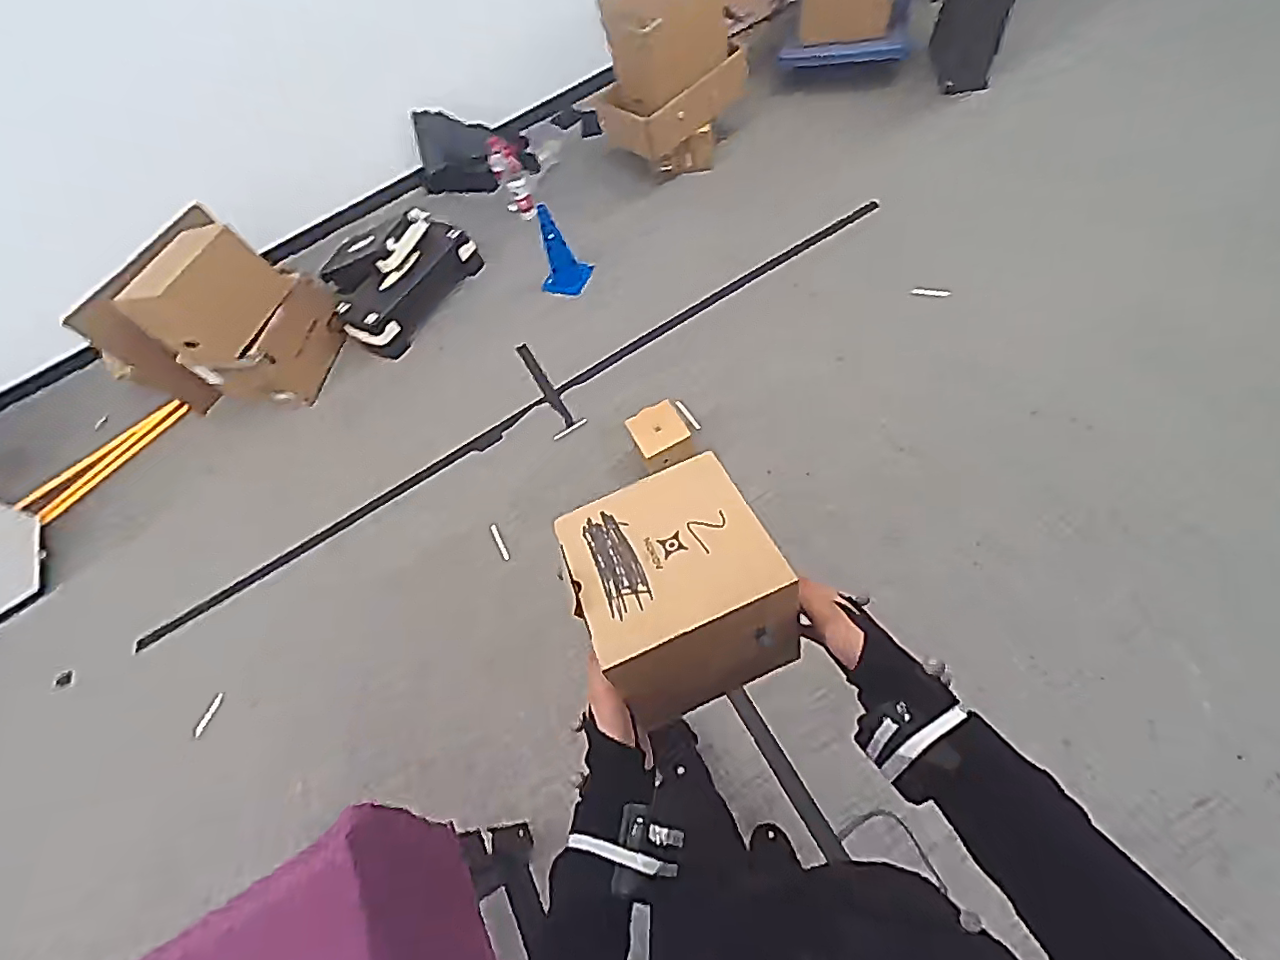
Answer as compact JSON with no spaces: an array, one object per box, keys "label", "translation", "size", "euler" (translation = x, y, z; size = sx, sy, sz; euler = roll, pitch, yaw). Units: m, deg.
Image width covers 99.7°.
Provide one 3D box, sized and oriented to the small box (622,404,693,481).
[{"label":"small box","translation":[0.064,-0.118,1.828],"size":[0.168,0.176,0.179],"euler":[-28,58,-4]}]
